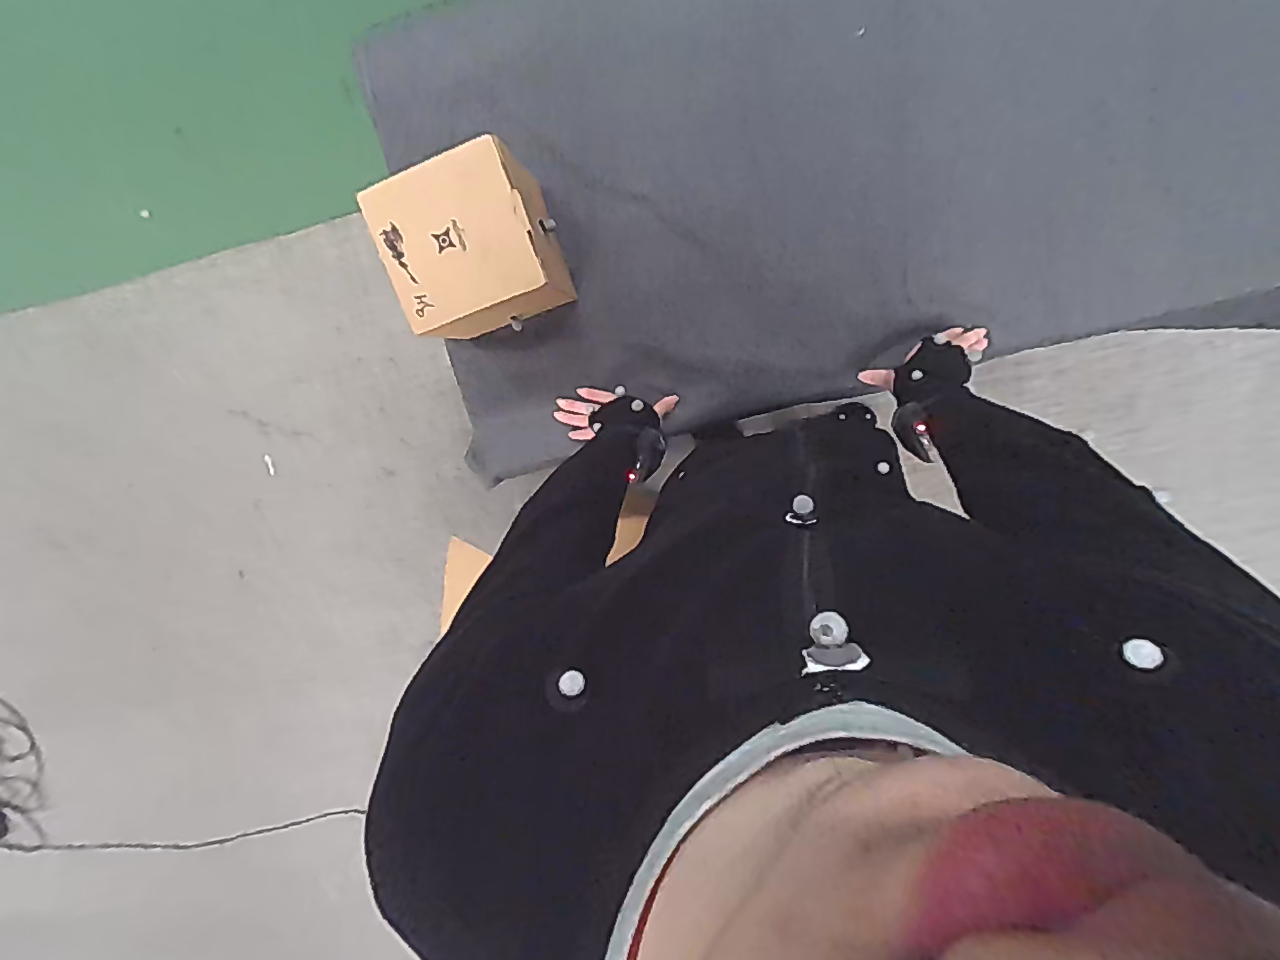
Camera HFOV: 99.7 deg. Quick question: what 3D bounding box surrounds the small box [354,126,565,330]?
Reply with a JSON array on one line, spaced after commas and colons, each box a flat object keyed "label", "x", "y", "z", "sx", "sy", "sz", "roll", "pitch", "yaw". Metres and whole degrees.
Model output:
[{"label": "small box", "x": -0.204, "y": -0.294, "z": 0.674, "sx": 0.179, "sy": 0.176, "sz": 0.168, "roll": -17, "pitch": 101, "yaw": 9}]
